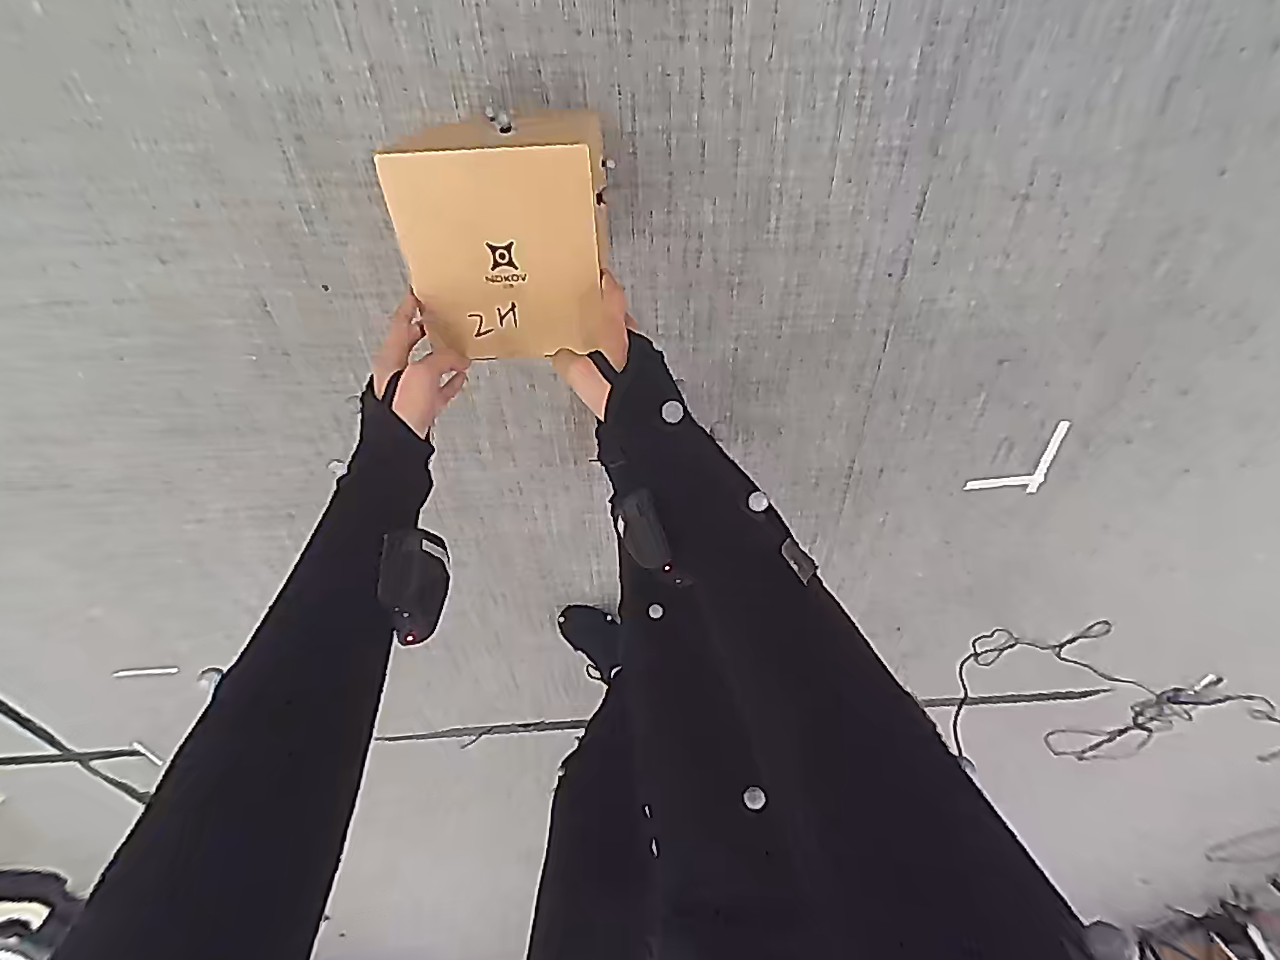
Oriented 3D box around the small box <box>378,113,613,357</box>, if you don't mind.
[{"bbox_3d":[-0.113,-0.235,0.509,0.168,0.176,0.179,-2,130,0],"label":"small box"}]
